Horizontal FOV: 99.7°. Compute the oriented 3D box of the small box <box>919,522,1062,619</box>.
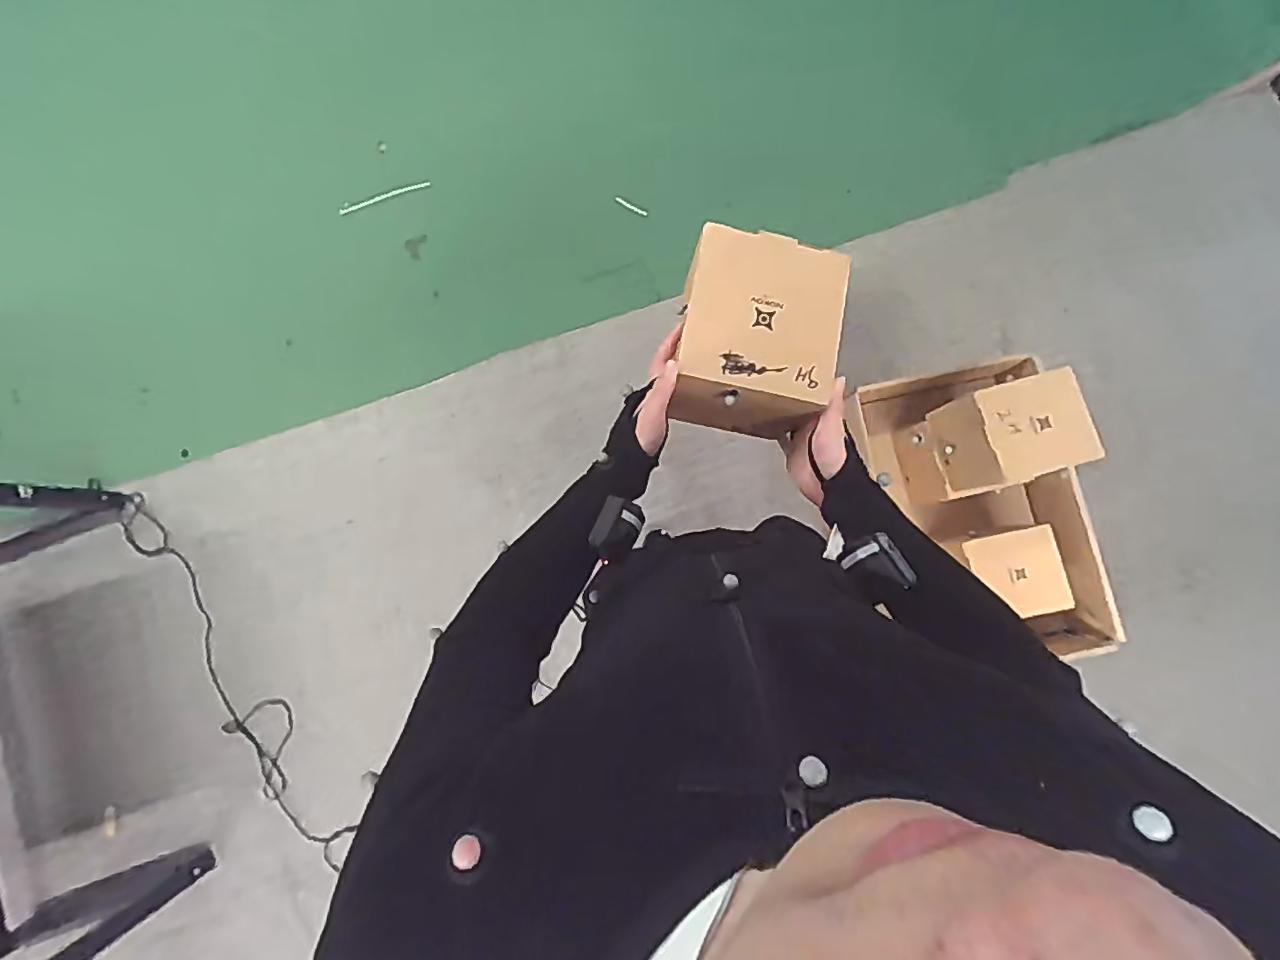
[{"bbox_3d":[0.729,0.183,1.143,0.179,0.176,0.168,-12,85,1],"label":"small box"}]

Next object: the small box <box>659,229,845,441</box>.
[{"bbox_3d":[0.123,-0.160,0.652,0.168,0.176,0.179,11,81,-4],"label":"small box"}]

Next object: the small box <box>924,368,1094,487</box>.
[{"bbox_3d":[0.671,-0.089,1.002,0.179,0.176,0.168,-15,84,0],"label":"small box"}]
